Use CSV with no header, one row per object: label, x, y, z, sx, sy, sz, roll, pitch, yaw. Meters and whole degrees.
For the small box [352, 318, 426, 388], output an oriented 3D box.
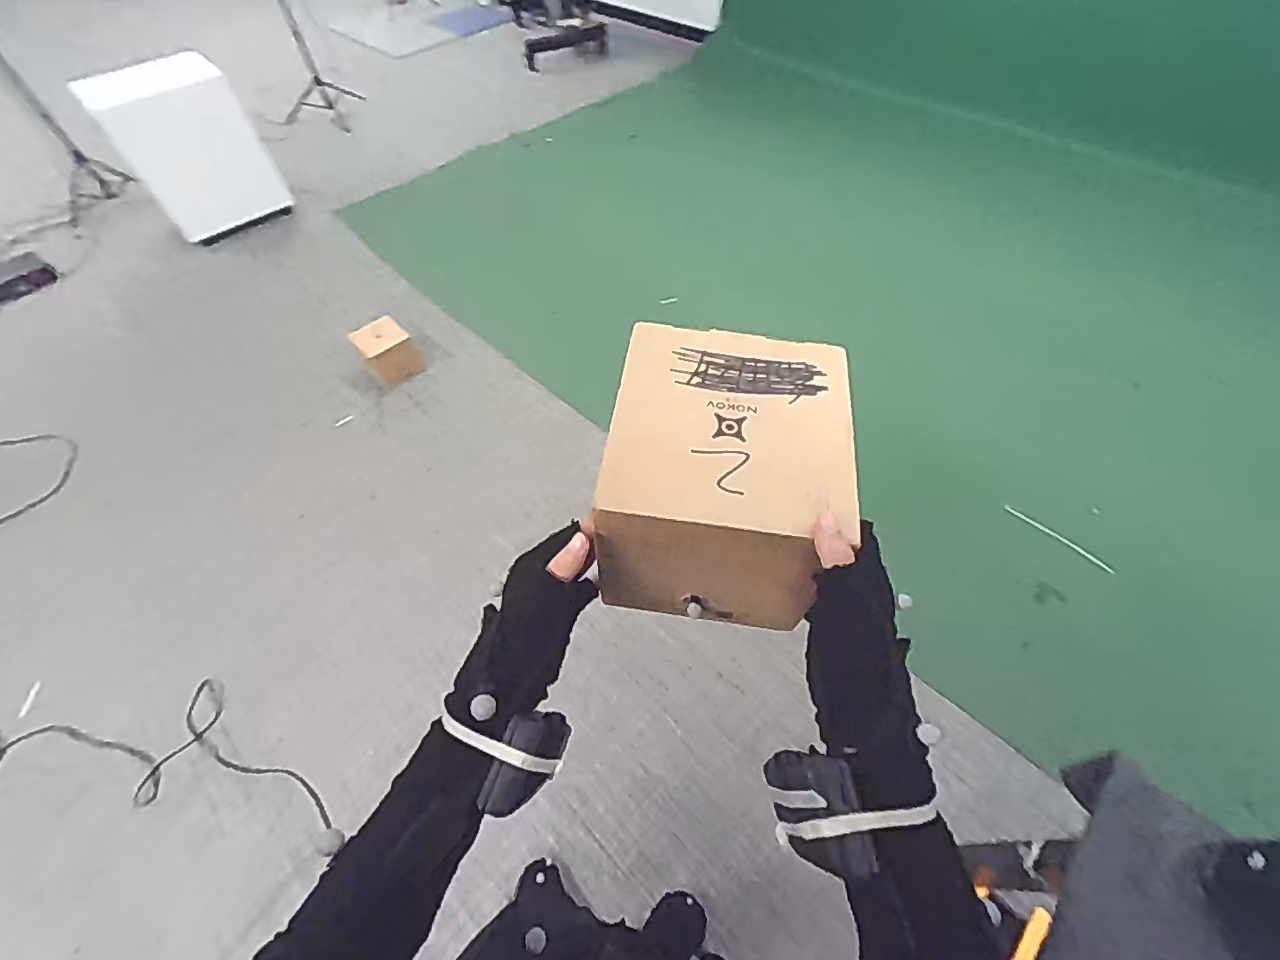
small box,-0.943,-0.473,2.047,0.168,0.176,0.179,-39,62,-23
